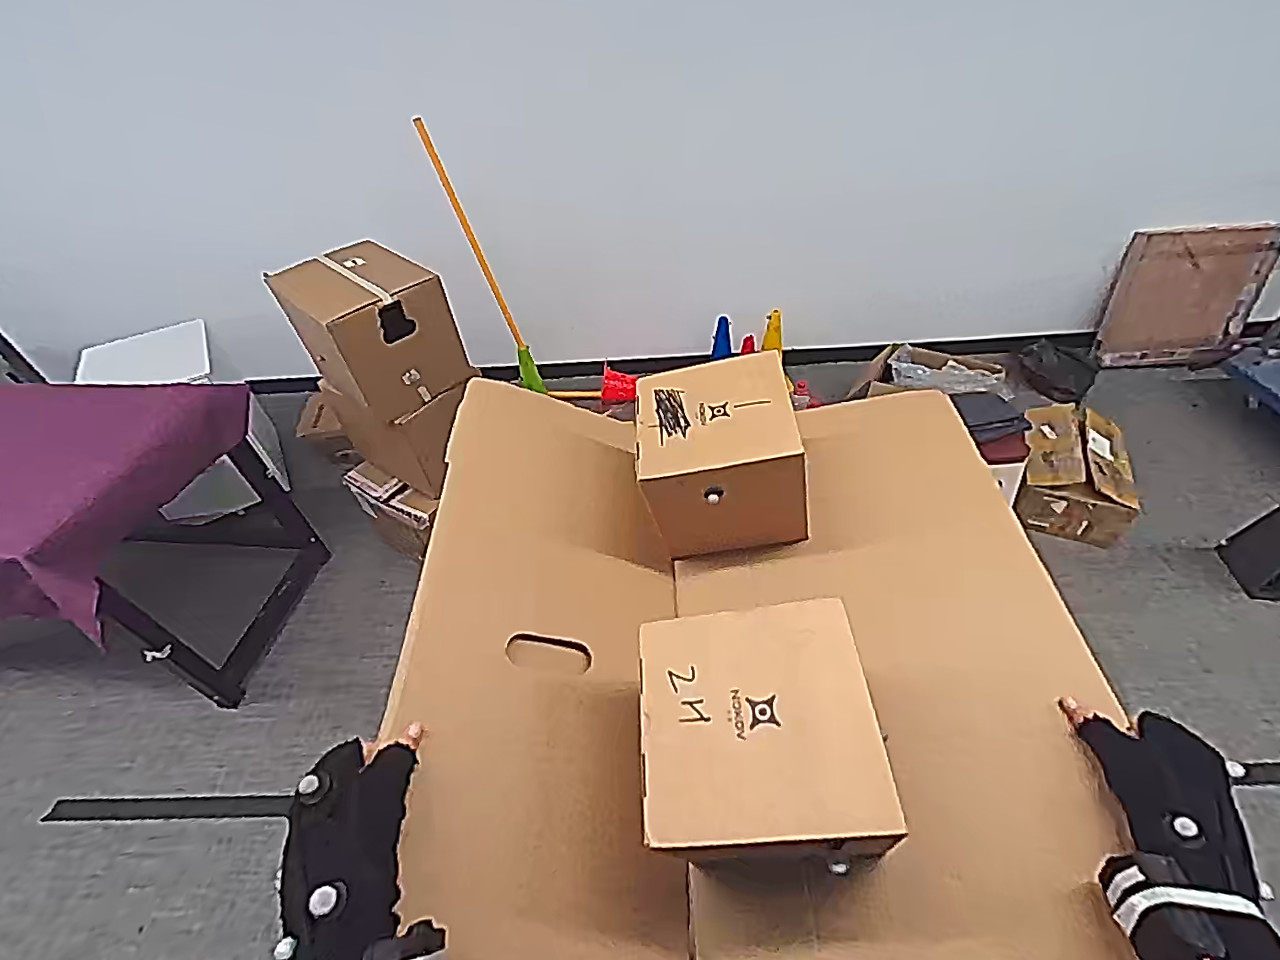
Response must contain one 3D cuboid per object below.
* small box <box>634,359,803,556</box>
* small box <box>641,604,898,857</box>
[{"bbox_3d":[0.098,-0.020,0.676,0.179,0.176,0.168,-10,51,11],"label":"small box"},{"bbox_3d":[0.106,0.228,0.479,0.179,0.176,0.168,-11,50,12],"label":"small box"}]
